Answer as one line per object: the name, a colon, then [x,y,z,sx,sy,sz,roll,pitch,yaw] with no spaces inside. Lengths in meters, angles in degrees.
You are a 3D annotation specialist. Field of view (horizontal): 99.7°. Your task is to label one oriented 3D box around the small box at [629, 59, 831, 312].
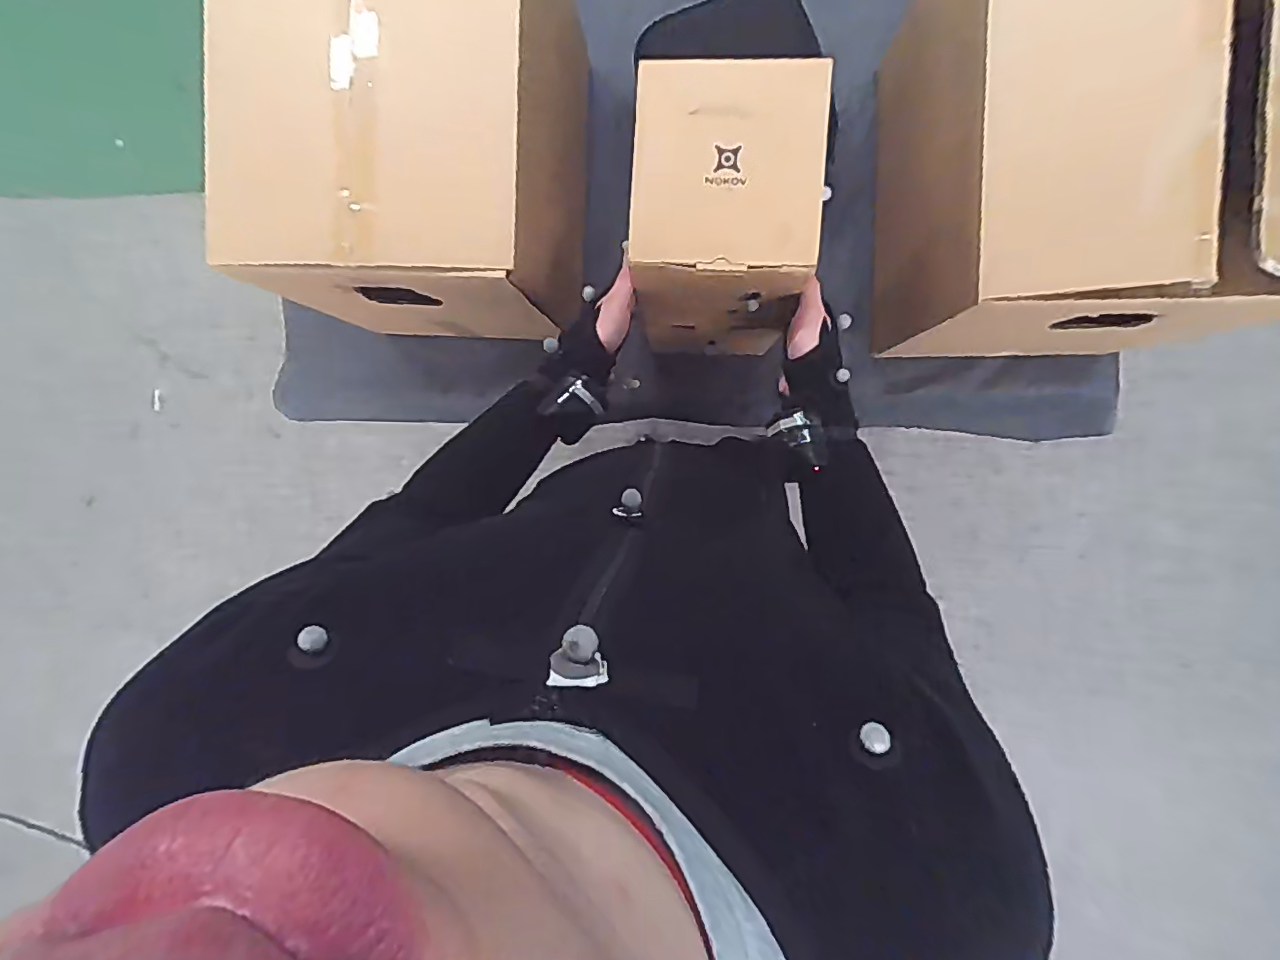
small box: [0.083,-0.277,0.547,0.168,0.176,0.179,3,92,4]
